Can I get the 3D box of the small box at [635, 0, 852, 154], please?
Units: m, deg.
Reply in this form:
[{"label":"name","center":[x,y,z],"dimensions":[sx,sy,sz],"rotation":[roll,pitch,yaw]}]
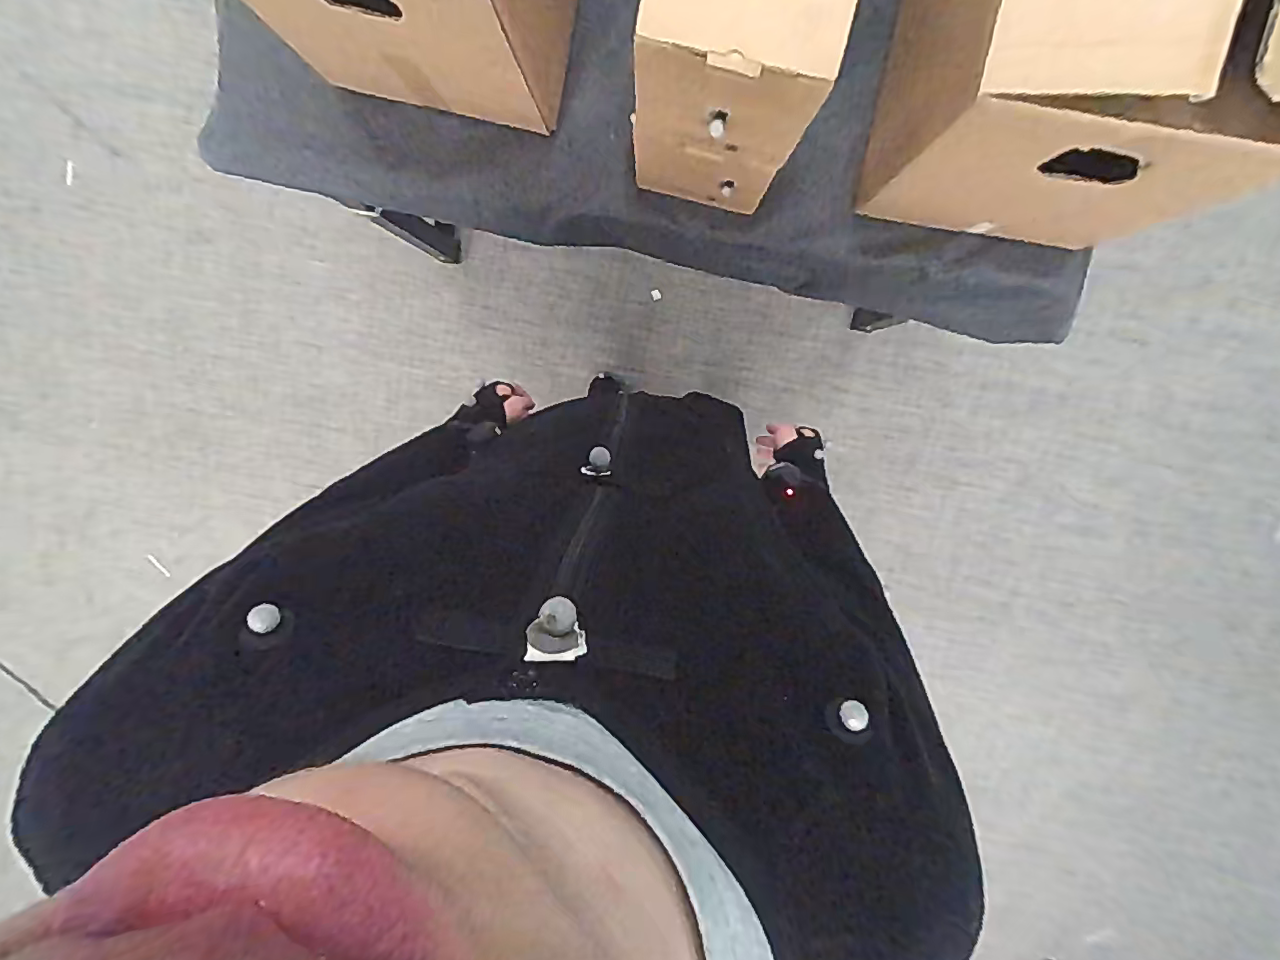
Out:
[{"label":"small box","center":[0.096,-0.433,0.494],"dimensions":[0.168,0.176,0.179],"rotation":[13,101,-2]}]
